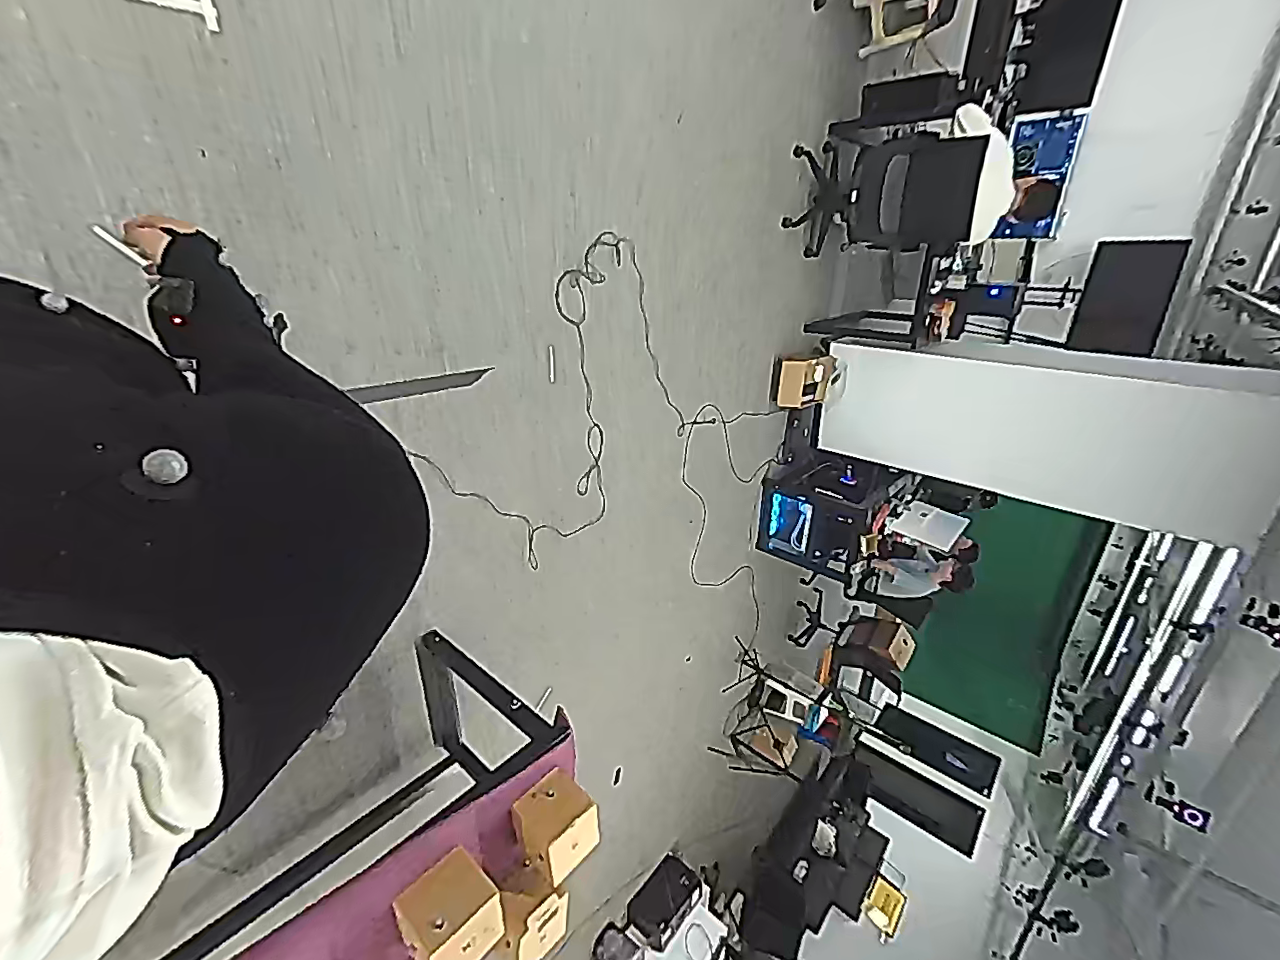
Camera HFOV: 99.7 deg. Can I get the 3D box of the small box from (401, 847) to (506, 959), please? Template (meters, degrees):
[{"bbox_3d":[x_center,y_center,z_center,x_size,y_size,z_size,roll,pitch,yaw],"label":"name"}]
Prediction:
[{"bbox_3d":[-0.442,1.029,1.274,0.179,0.176,0.168,-24,123,-45],"label":"small box"}]

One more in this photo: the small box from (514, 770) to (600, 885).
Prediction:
[{"bbox_3d":[-0.231,0.958,1.507,0.168,0.176,0.179,-26,124,-41],"label":"small box"}]

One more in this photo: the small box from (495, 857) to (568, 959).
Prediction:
[{"bbox_3d":[-0.319,1.205,1.508,0.168,0.176,0.179,-16,117,-47],"label":"small box"}]
